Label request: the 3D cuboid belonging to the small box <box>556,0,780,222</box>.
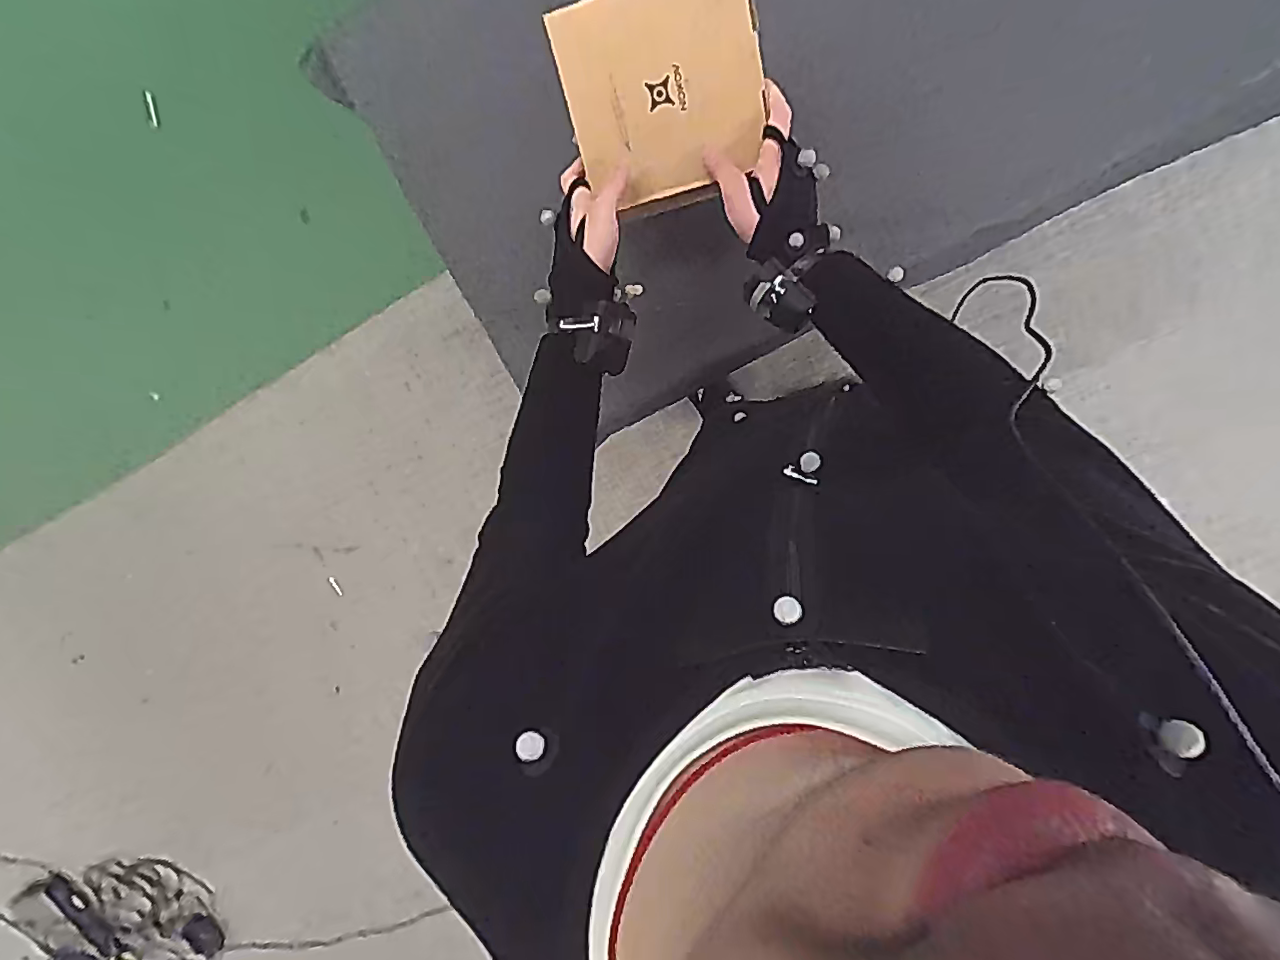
[{"bbox_3d":[0.031,-0.371,0.549,0.179,0.176,0.168,-10,111,7],"label":"small box"}]
